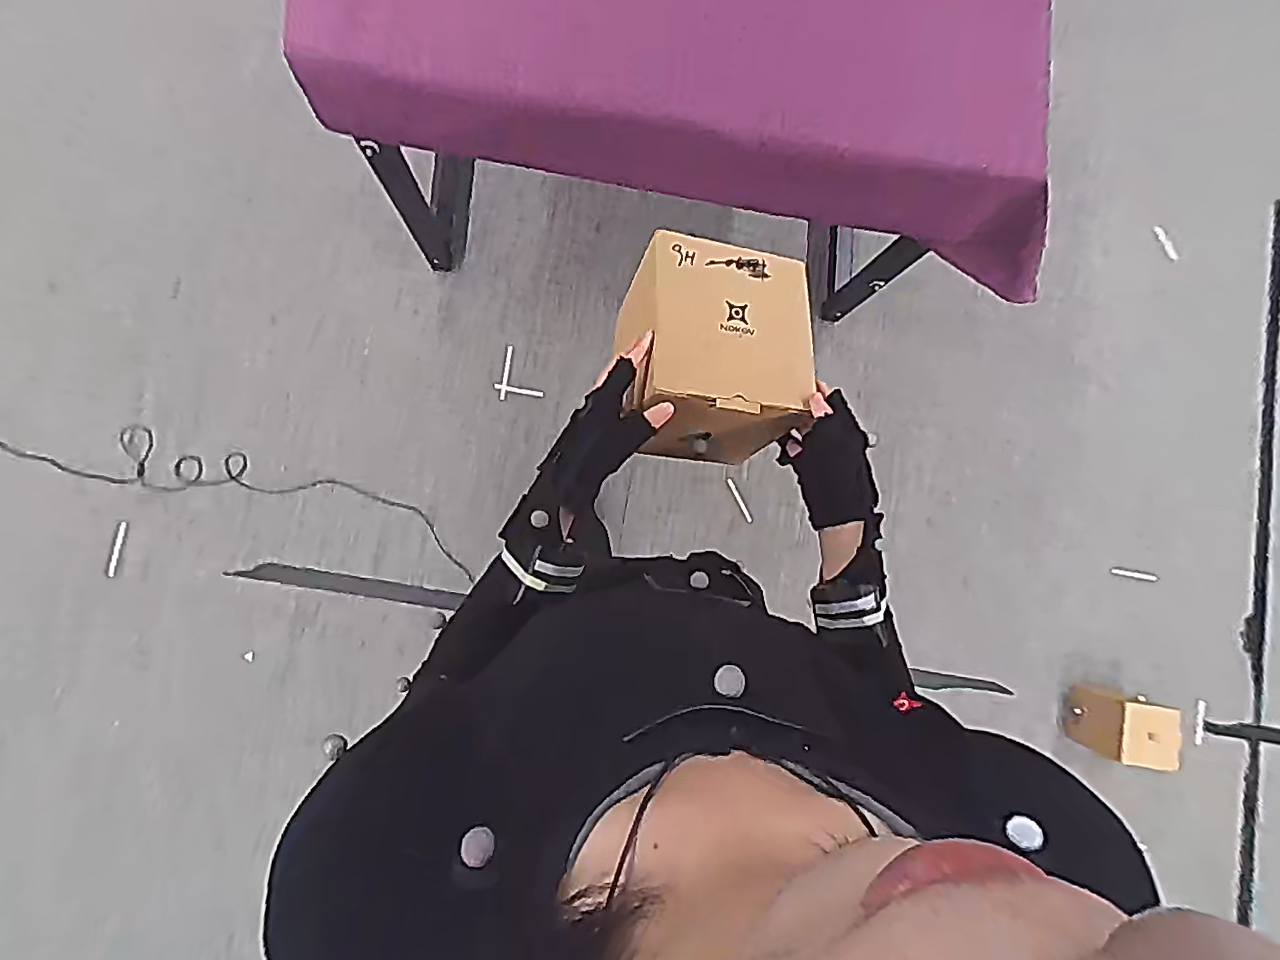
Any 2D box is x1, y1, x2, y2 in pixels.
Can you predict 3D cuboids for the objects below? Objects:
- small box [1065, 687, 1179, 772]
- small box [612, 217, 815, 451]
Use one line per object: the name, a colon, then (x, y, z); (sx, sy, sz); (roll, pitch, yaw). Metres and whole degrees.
small box: (1.375, 0.708, 1.549); (0.179, 0.176, 0.168); (10, 84, -5)
small box: (0.069, -0.141, 0.588); (0.168, 0.176, 0.179); (6, 74, -16)
